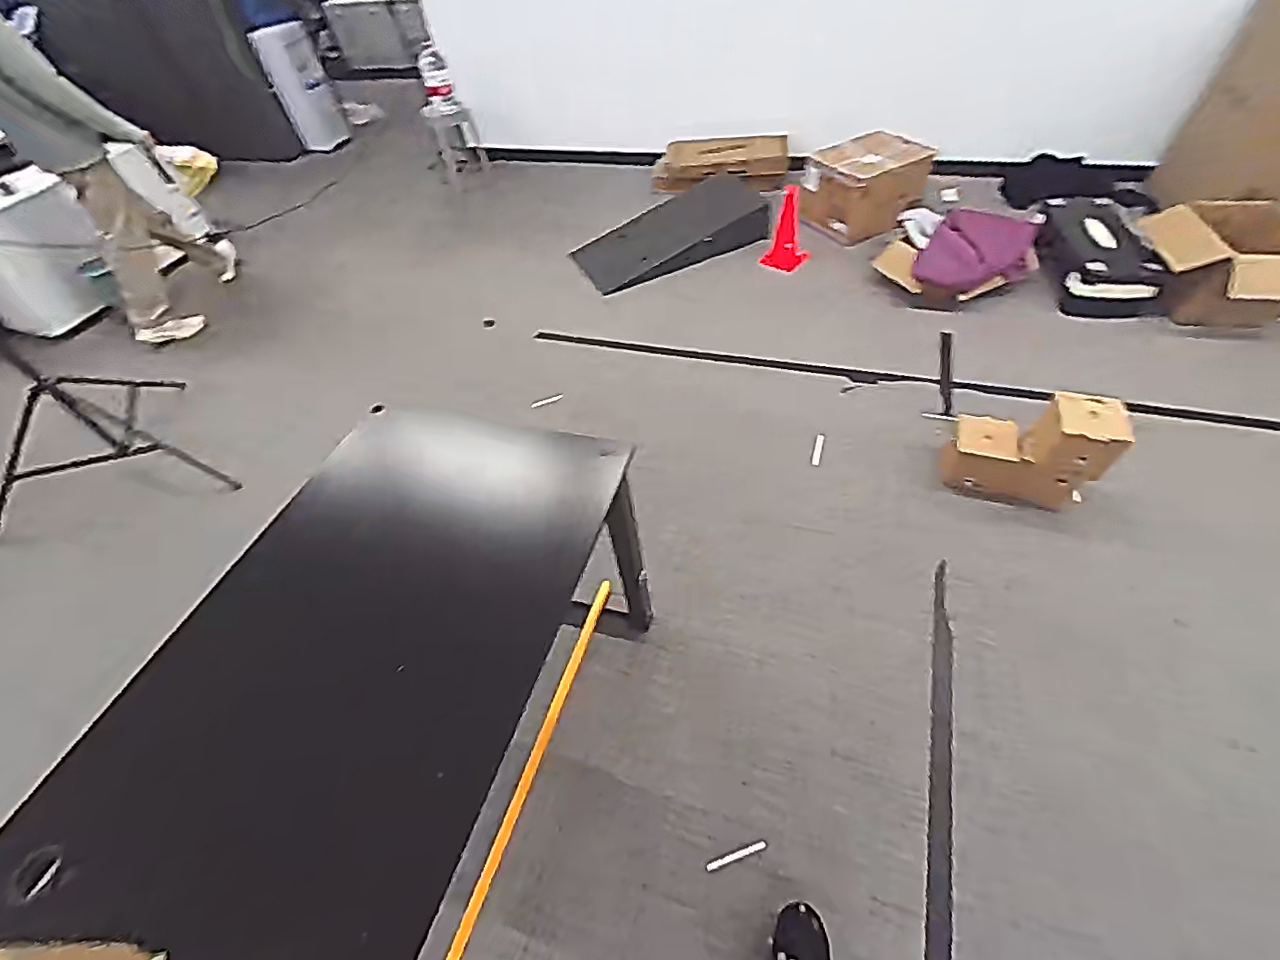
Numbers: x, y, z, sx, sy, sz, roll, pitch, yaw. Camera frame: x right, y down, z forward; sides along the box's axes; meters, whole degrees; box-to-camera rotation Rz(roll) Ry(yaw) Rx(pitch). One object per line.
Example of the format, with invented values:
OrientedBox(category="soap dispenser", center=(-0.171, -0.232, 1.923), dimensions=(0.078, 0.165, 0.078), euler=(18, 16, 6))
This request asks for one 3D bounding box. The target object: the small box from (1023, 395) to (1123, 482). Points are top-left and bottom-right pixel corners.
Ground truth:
OrientedBox(category="small box", center=(1.250, -0.118, 1.575), dimensions=(0.168, 0.176, 0.179), euler=(12, 54, 16))

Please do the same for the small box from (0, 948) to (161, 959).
OrientedBox(category="small box", center=(-0.537, 0.561, 0.486), dimensions=(0.168, 0.176, 0.179), euler=(10, 51, 15))
